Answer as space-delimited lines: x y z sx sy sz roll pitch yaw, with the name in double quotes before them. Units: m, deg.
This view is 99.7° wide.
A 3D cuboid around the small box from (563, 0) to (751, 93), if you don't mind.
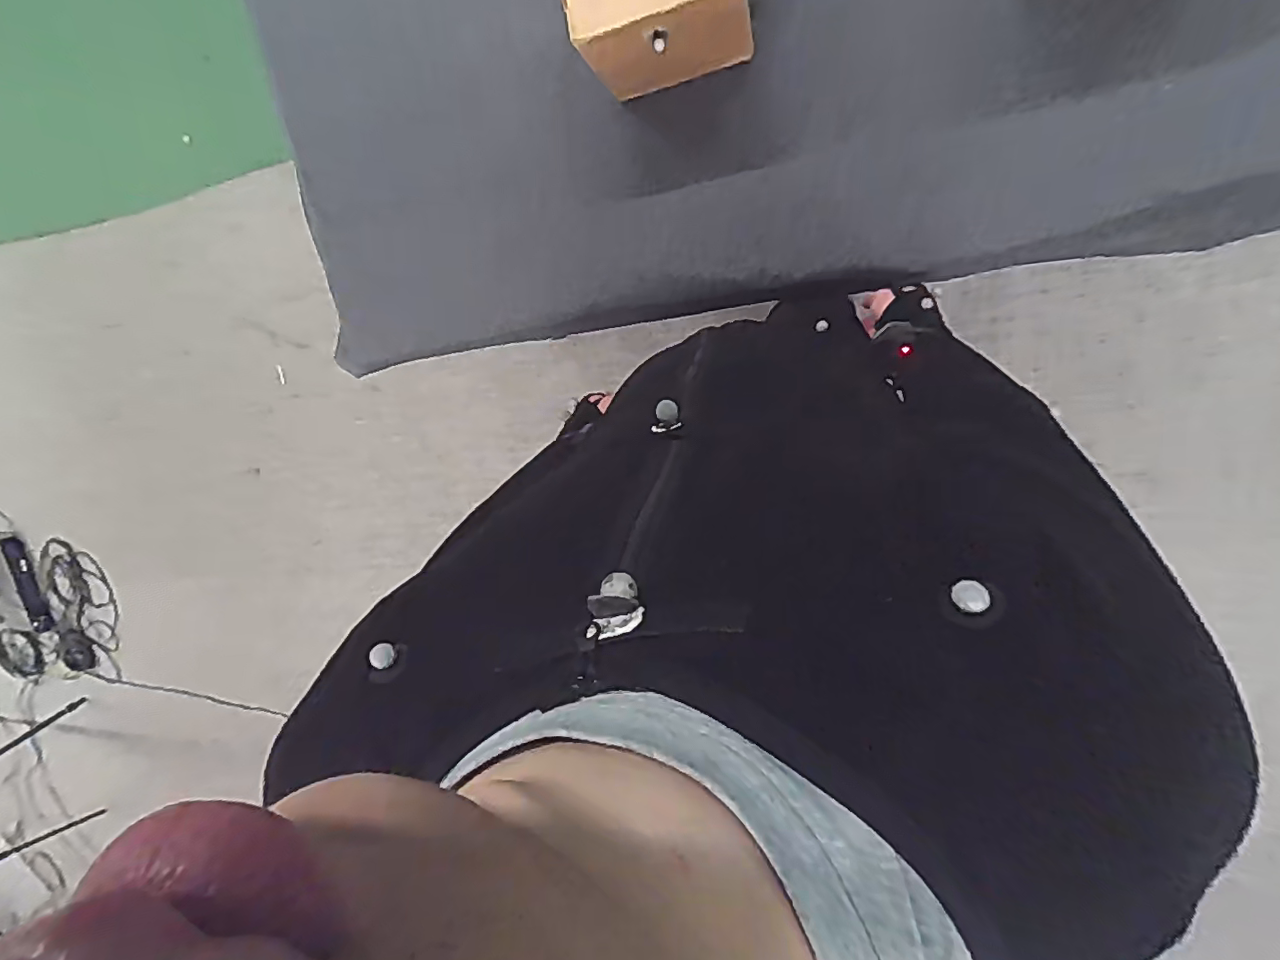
"small box" 0.018 -0.552 0.577 0.179 0.176 0.168 -6 105 16
